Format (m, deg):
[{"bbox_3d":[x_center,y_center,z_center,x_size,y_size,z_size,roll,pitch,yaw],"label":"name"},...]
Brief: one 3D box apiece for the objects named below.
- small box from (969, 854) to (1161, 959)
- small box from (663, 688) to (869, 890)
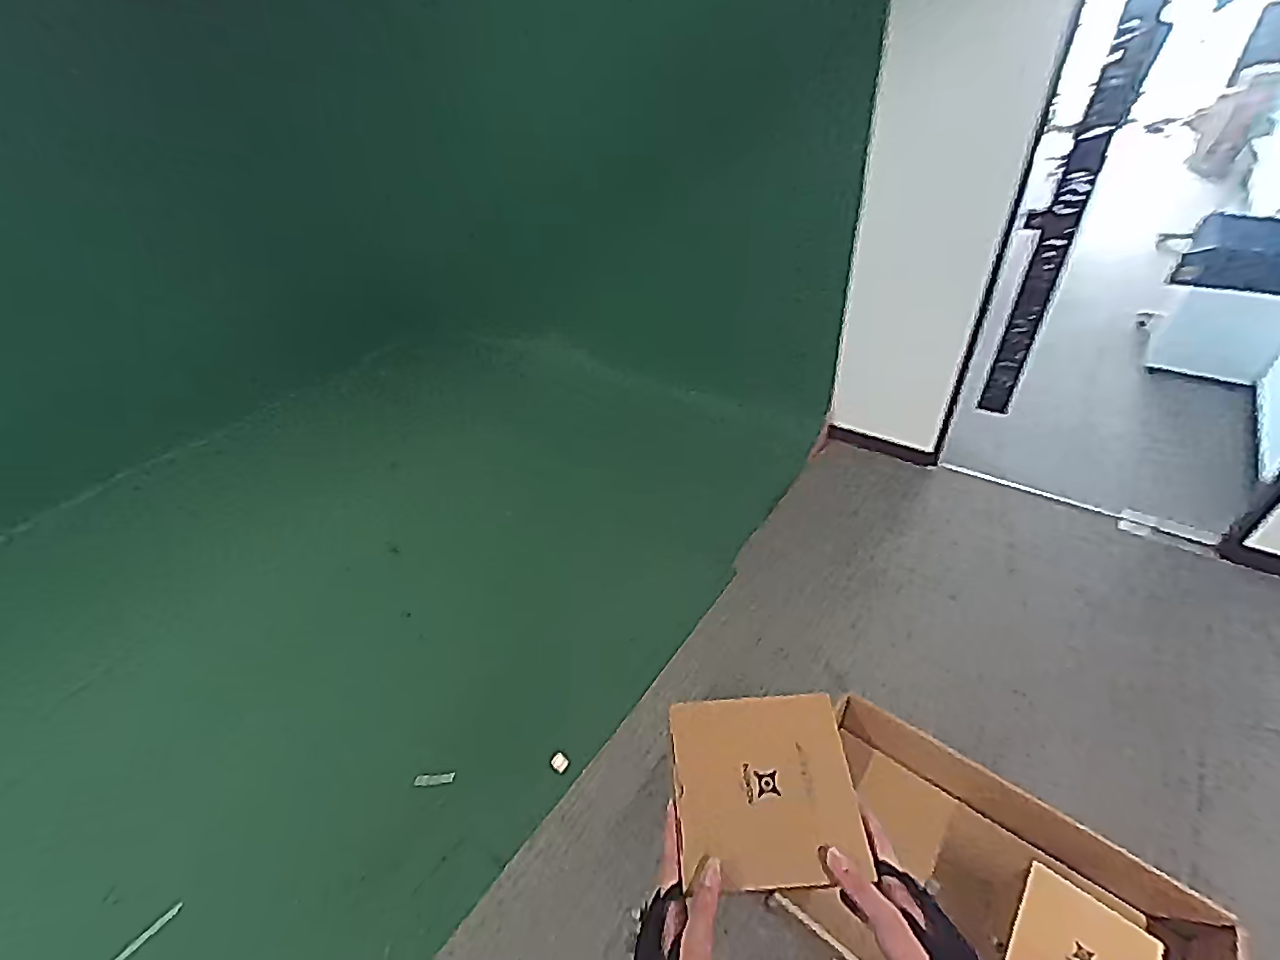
[{"bbox_3d":[0.632,0.725,0.820,0.168,0.176,0.179,27,53,32],"label":"small box"},{"bbox_3d":[0.119,0.341,0.592,0.179,0.176,0.168,-3,52,-1],"label":"small box"}]
